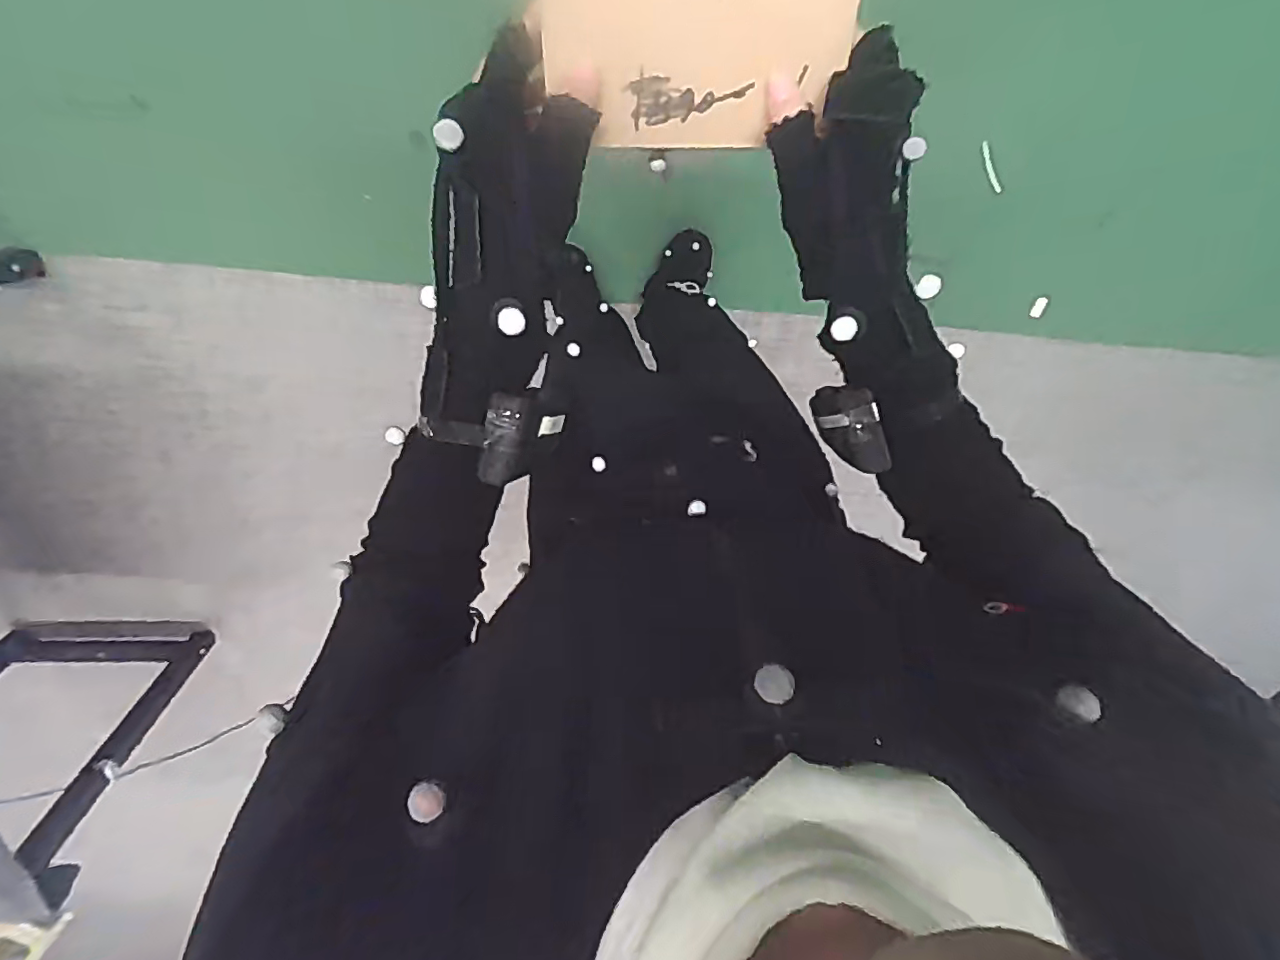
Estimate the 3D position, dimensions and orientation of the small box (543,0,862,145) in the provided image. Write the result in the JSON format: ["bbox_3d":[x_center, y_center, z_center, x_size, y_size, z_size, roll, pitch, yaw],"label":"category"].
[{"bbox_3d":[0.024,-0.308,0.322,0.168,0.176,0.179,-3,126,-6],"label":"small box"}]
